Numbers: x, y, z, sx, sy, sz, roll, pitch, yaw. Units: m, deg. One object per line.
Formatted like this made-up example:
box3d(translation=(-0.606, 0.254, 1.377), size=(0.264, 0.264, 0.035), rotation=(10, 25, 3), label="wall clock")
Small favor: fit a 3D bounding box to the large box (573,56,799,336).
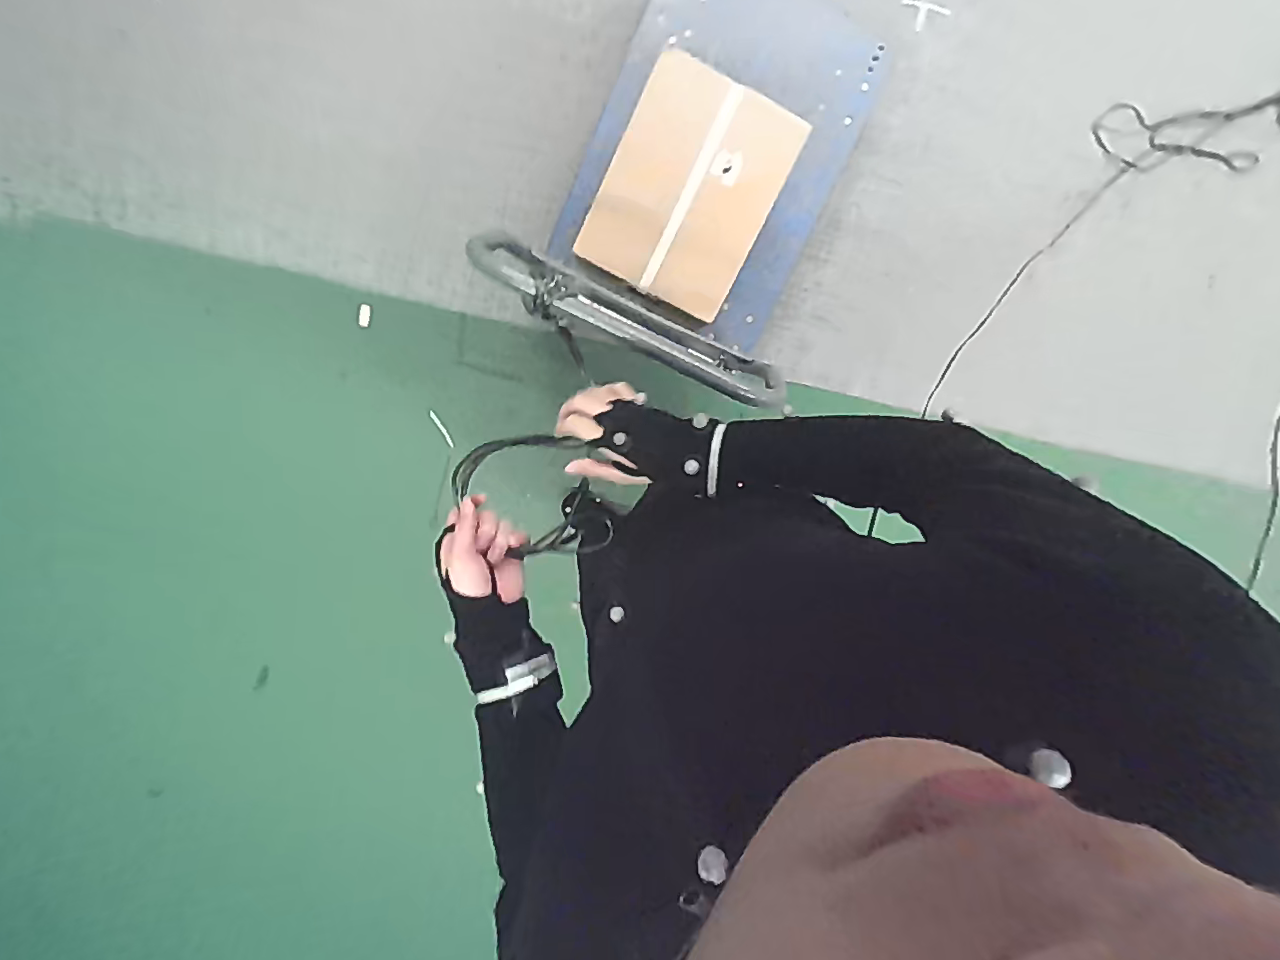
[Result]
box3d(translation=(0.085, -0.578, 1.195), size=(0.320, 0.320, 0.408), rotation=(26, 99, -5), label="large box")
